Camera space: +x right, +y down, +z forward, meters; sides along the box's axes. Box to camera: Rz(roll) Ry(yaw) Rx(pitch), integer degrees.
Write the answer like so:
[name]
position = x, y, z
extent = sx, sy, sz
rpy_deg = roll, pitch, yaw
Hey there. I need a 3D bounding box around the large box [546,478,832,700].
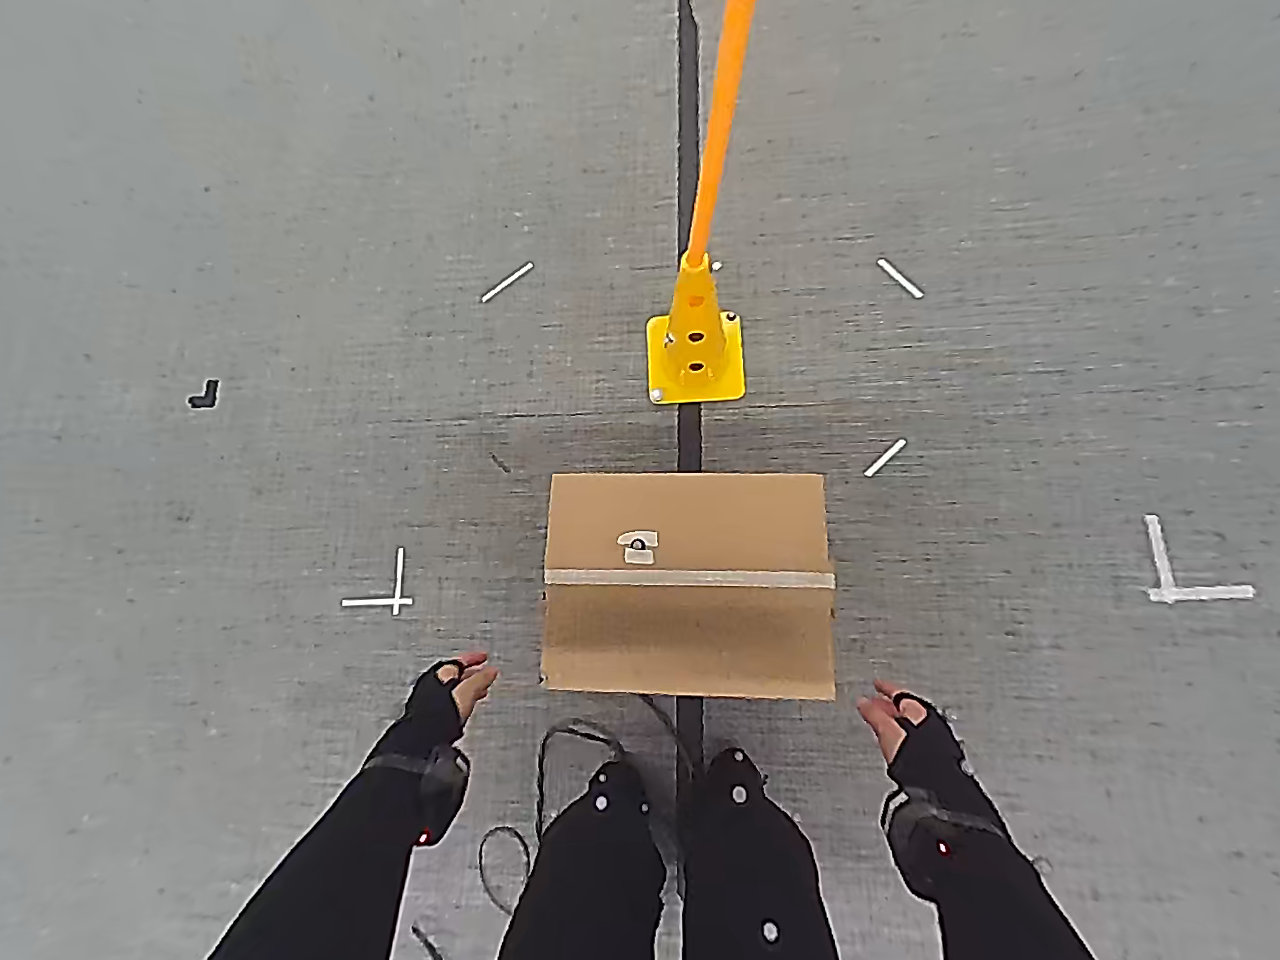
[large box]
position = 0.081, 0.184, 0.928
extent = 0.408, 0.320, 0.320
rpy_deg = 0, 76, 6
